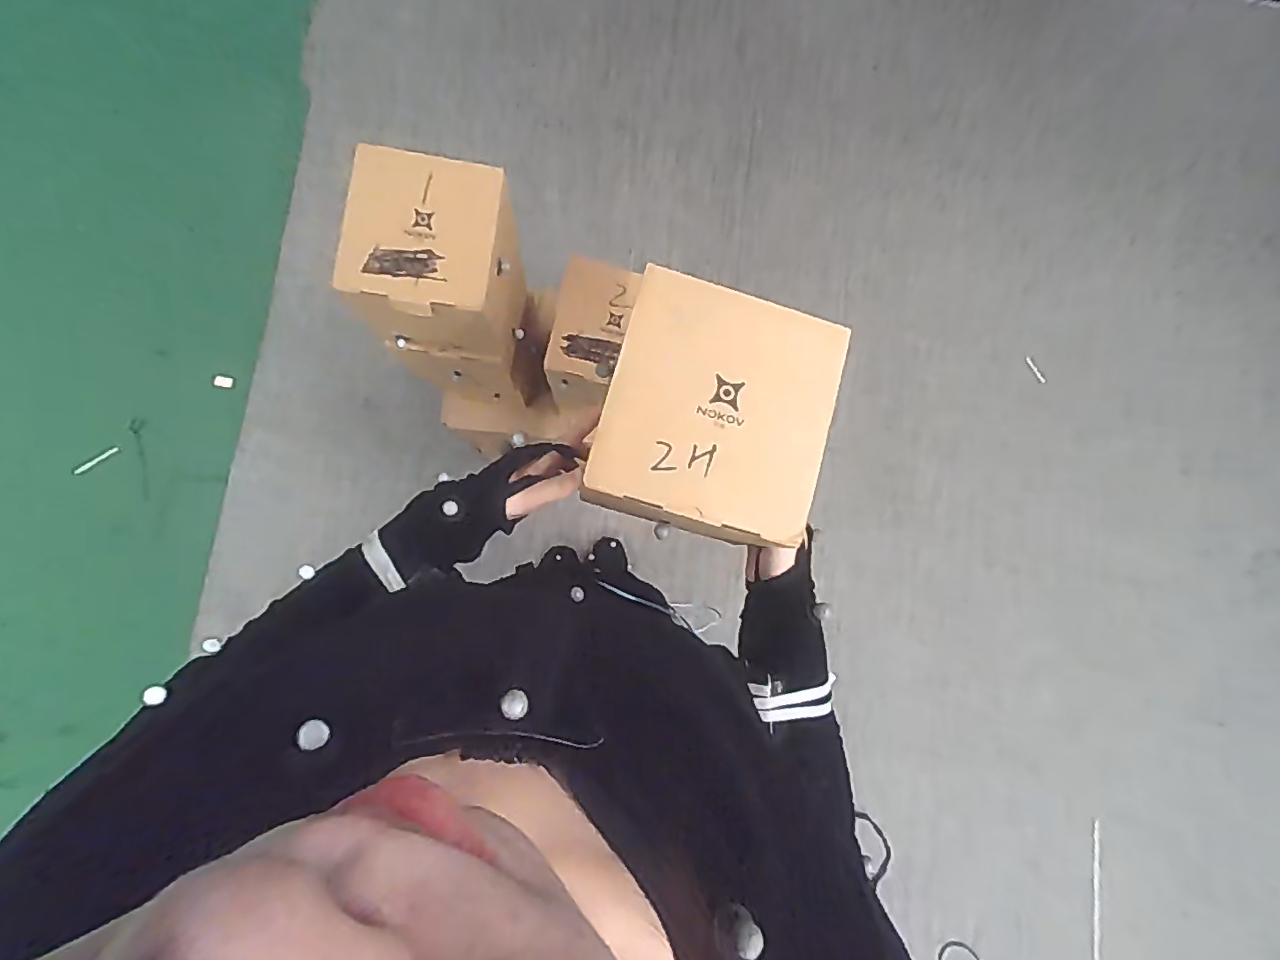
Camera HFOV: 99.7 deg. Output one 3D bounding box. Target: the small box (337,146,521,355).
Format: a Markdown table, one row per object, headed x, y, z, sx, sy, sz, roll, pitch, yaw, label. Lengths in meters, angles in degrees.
| x | y | z | sx | sy | sz | roll | pitch | yaw | label |
| --- | --- | --- | --- | --- | --- | --- | --- | --- | --- |
| -0.250 | -0.274 | 0.686 | 0.168 | 0.176 | 0.179 | 7 | 82 | -6 | small box |

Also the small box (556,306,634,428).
| x | y | z | sx | sy | sz | roll | pitch | yaw | label |
| --- | --- | --- | --- | --- | --- | --- | --- | --- | --- |
| -0.054 | -0.196 | 1.022 | 0.168 | 0.176 | 0.179 | 14 | 83 | -2 | small box |

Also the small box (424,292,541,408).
| x | y | z | sx | sy | sz | roll | pitch | yaw | label |
| --- | --- | --- | --- | --- | --- | --- | --- | --- | --- |
| -0.283 | -0.244 | 1.011 | 0.168 | 0.176 | 0.179 | 9 | 83 | -5 | small box |

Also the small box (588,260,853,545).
| x | y | z | sx | sy | sz | roll | pitch | yaw | label |
| --- | --- | --- | --- | --- | --- | --- | --- | --- | --- |
| 0.053 | -0.050 | 0.471 | 0.168 | 0.176 | 0.179 | 16 | 83 | -4 | small box |
